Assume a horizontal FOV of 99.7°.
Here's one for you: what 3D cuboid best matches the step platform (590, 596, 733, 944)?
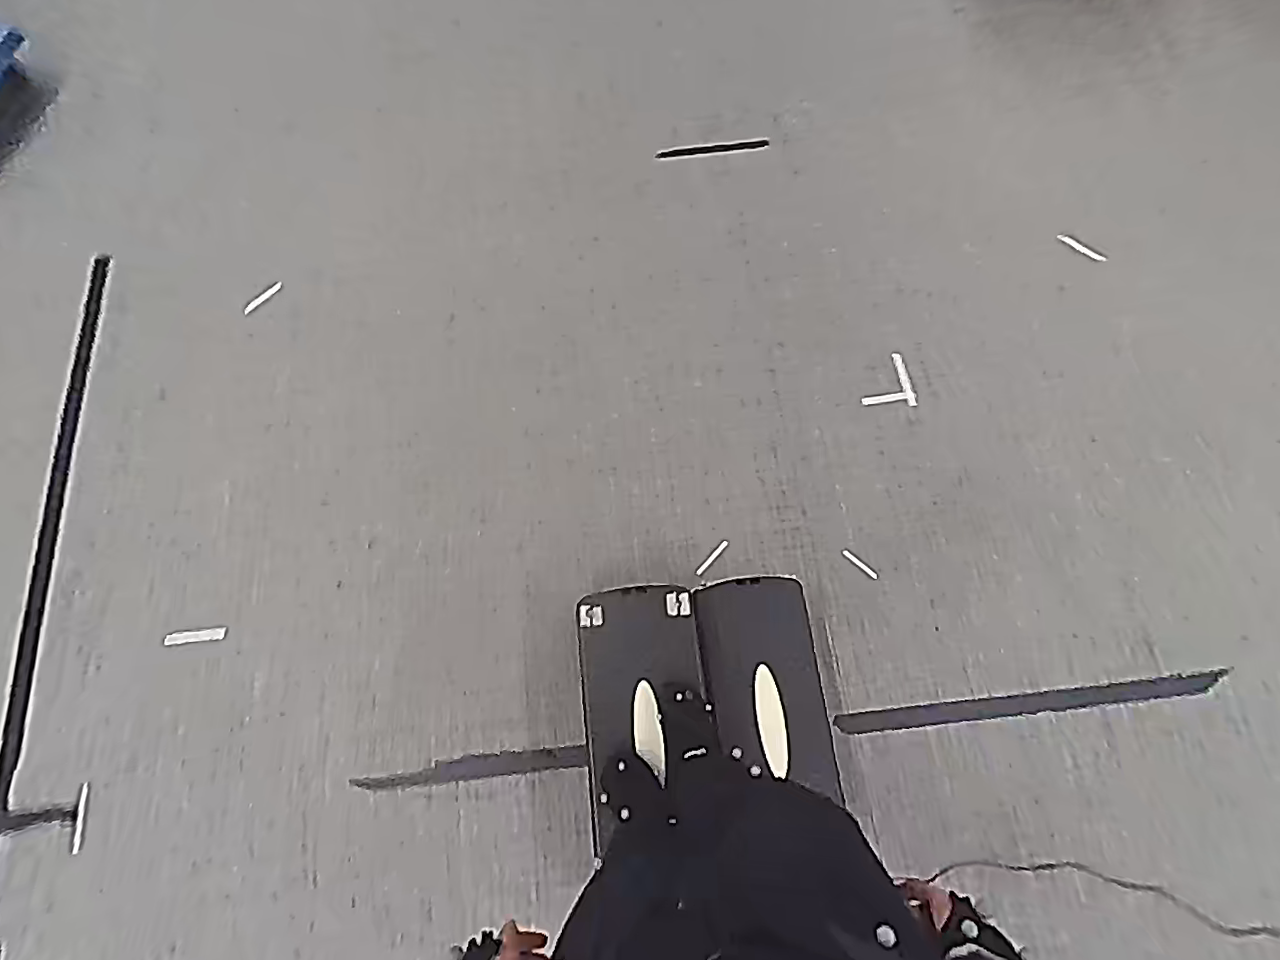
[{"bbox_3d":[0.034,0.613,1.233,0.286,0.204,0.684,-3,70,-1],"label":"step platform"}]
